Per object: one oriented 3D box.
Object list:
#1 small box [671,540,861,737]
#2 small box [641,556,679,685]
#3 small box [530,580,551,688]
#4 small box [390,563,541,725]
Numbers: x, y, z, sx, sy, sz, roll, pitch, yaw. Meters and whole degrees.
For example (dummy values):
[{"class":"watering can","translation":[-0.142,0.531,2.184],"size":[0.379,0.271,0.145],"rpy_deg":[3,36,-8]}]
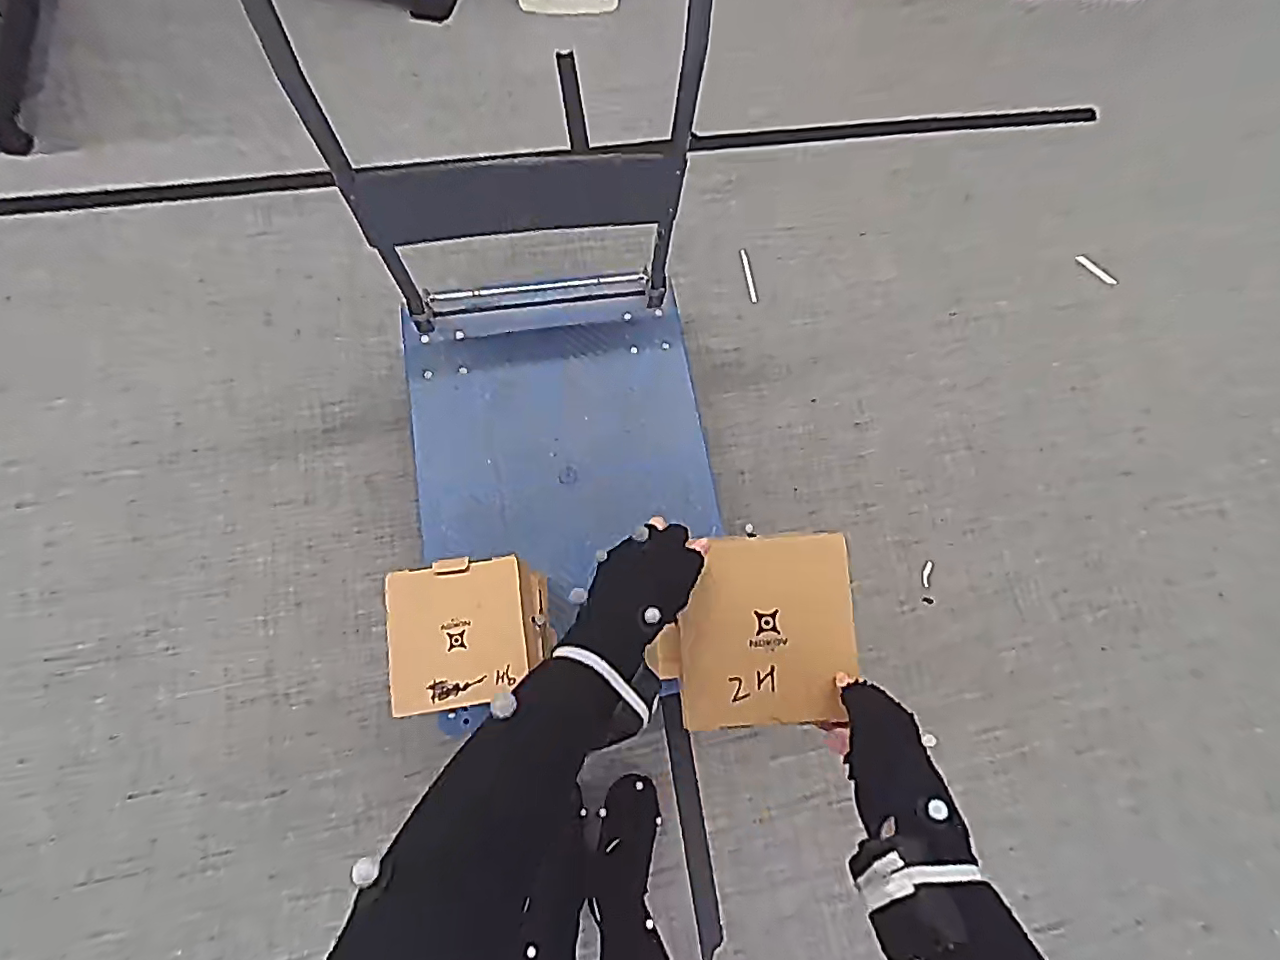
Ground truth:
[{"class":"small box","translation":[0.122,0.158,0.590],"size":[0.168,0.176,0.179],"rpy_deg":[-4,84,2]},{"class":"small box","translation":[0.096,0.199,0.788],"size":[0.179,0.176,0.168],"rpy_deg":[-3,77,-7]},{"class":"small box","translation":[-0.243,0.260,0.906],"size":[0.179,0.176,0.168],"rpy_deg":[-5,77,-6]},{"class":"small box","translation":[-0.232,0.220,0.747],"size":[0.168,0.176,0.179],"rpy_deg":[-7,76,-7]}]
